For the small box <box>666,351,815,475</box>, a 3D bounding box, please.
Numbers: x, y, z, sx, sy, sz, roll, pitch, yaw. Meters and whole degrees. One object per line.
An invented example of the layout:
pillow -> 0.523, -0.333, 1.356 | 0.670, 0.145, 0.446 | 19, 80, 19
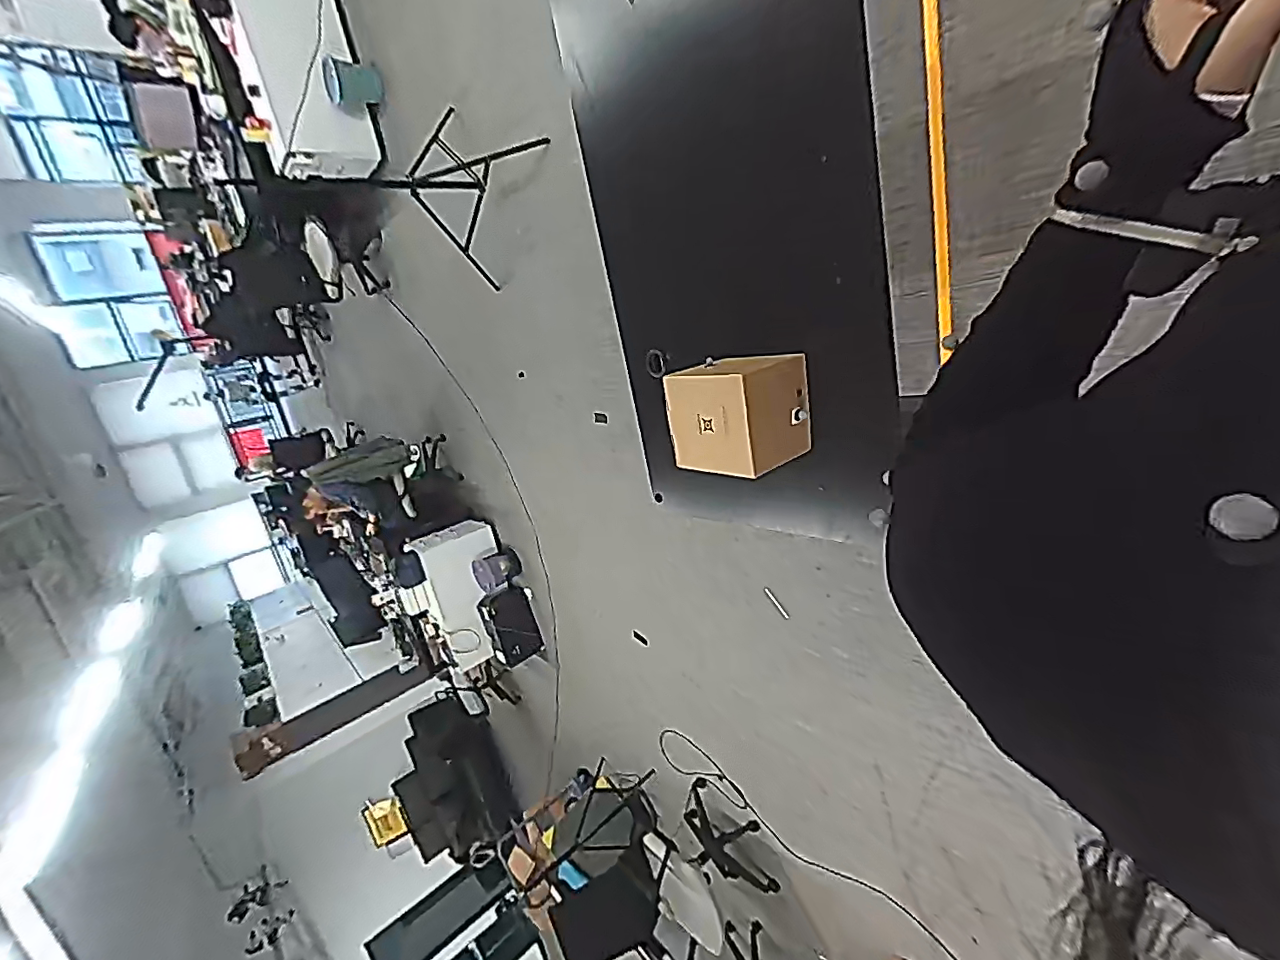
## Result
small box -> 0.173, -0.119, 0.921 | 0.179, 0.176, 0.168 | 10, 117, 49
